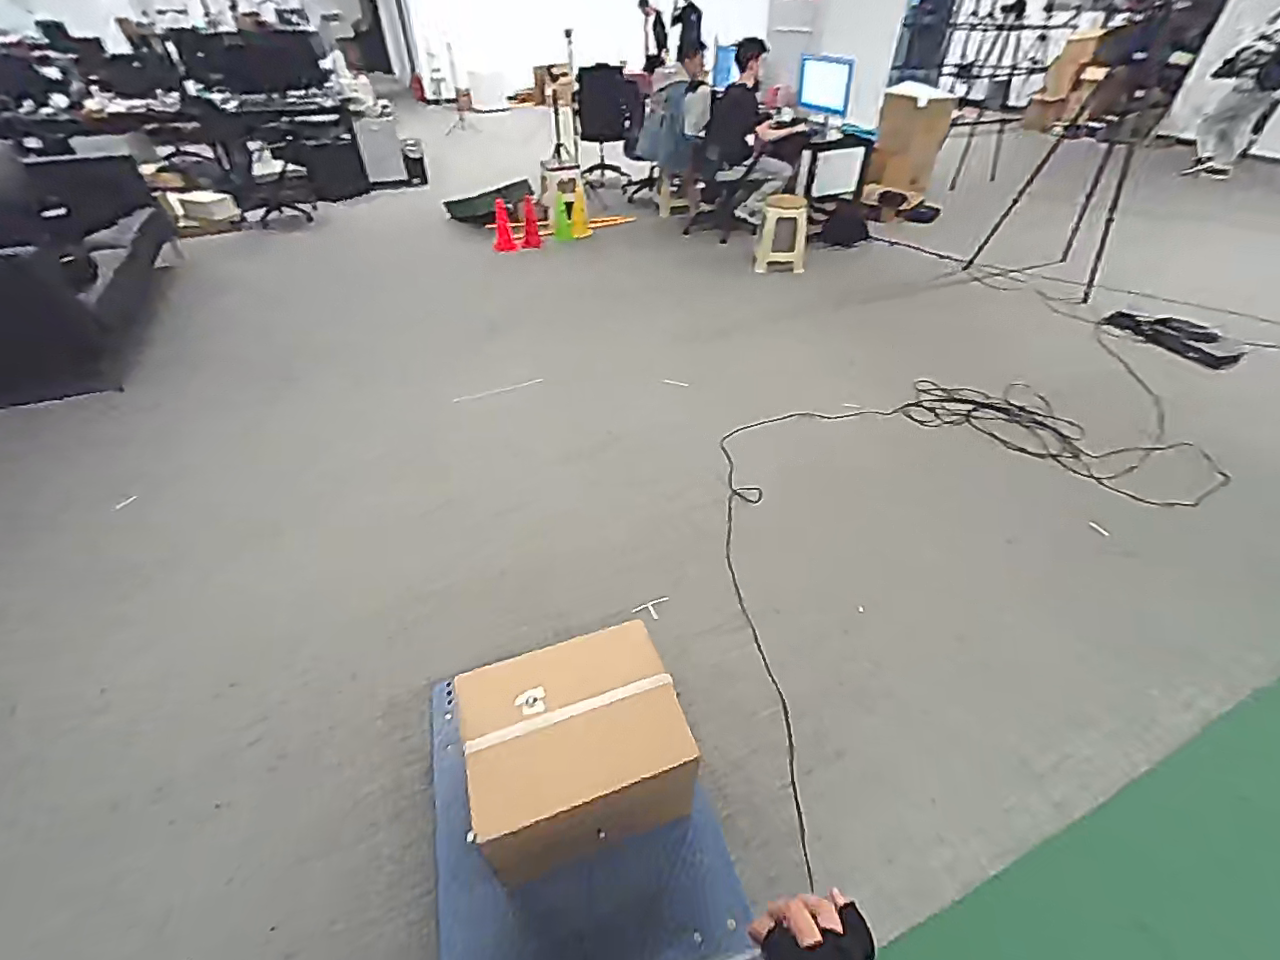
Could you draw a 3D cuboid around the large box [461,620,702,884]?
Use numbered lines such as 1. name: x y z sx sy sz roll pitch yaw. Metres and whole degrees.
1. large box: -0.121 0.559 1.133 0.408 0.320 0.320 -14 42 -15
